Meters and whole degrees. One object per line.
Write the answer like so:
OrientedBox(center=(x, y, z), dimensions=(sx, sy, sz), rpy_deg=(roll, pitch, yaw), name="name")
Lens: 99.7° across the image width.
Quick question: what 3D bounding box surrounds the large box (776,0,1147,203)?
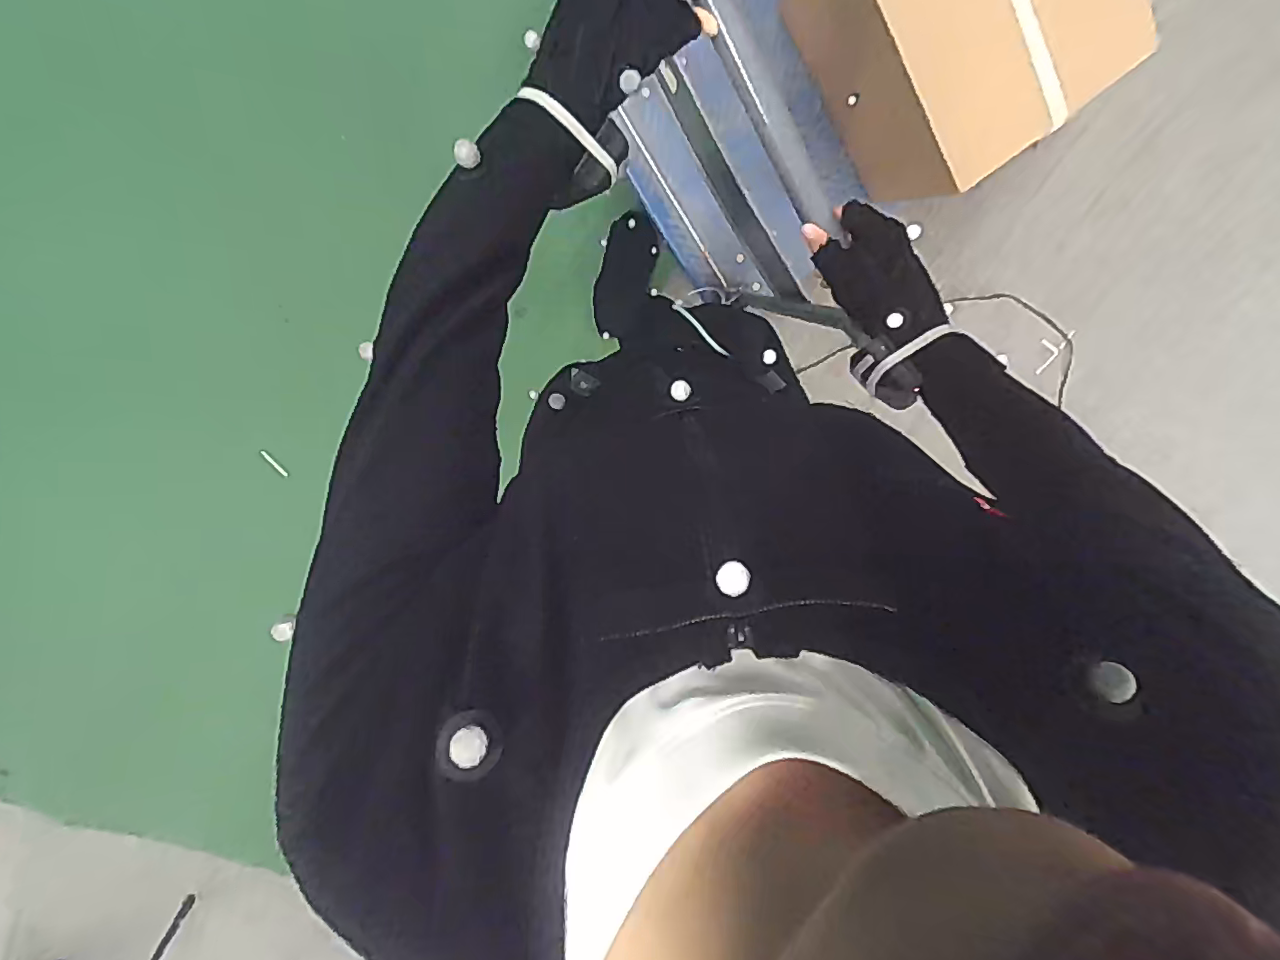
OrientedBox(center=(0.483, -0.731, 0.875), dimensions=(0.320, 0.320, 0.408), rpy_deg=(-35, 110, 12), name="large box")
